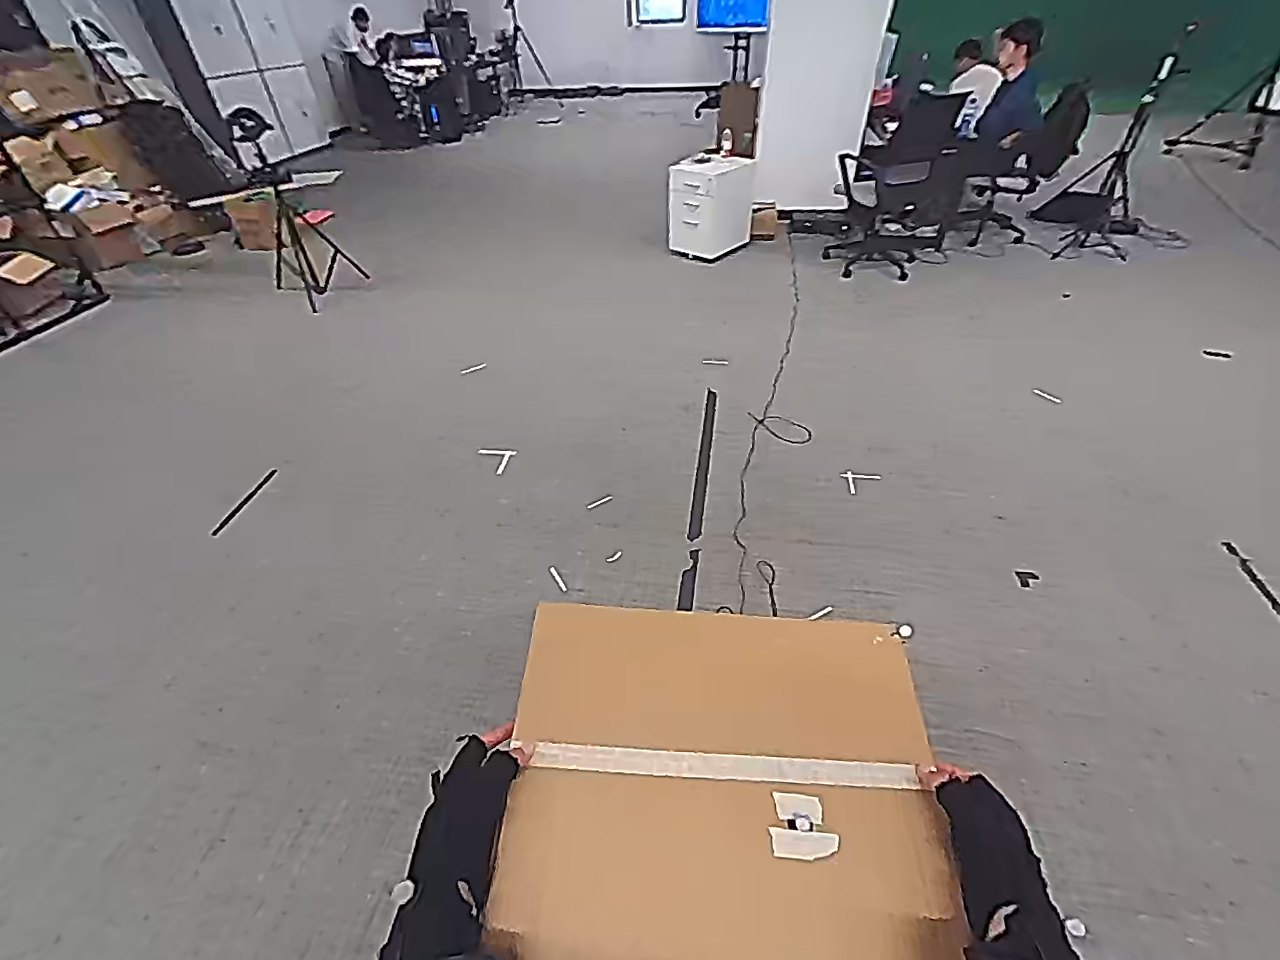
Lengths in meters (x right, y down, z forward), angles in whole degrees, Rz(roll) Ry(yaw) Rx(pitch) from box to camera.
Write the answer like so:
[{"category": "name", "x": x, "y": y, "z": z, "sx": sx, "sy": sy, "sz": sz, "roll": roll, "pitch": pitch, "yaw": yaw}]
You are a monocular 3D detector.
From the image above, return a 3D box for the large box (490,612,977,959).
[{"category": "large box", "x": 0.078, "y": 0.376, "z": 0.638, "sx": 0.408, "sy": 0.320, "sz": 0.320, "roll": 4, "pitch": 51, "yaw": 1}]
